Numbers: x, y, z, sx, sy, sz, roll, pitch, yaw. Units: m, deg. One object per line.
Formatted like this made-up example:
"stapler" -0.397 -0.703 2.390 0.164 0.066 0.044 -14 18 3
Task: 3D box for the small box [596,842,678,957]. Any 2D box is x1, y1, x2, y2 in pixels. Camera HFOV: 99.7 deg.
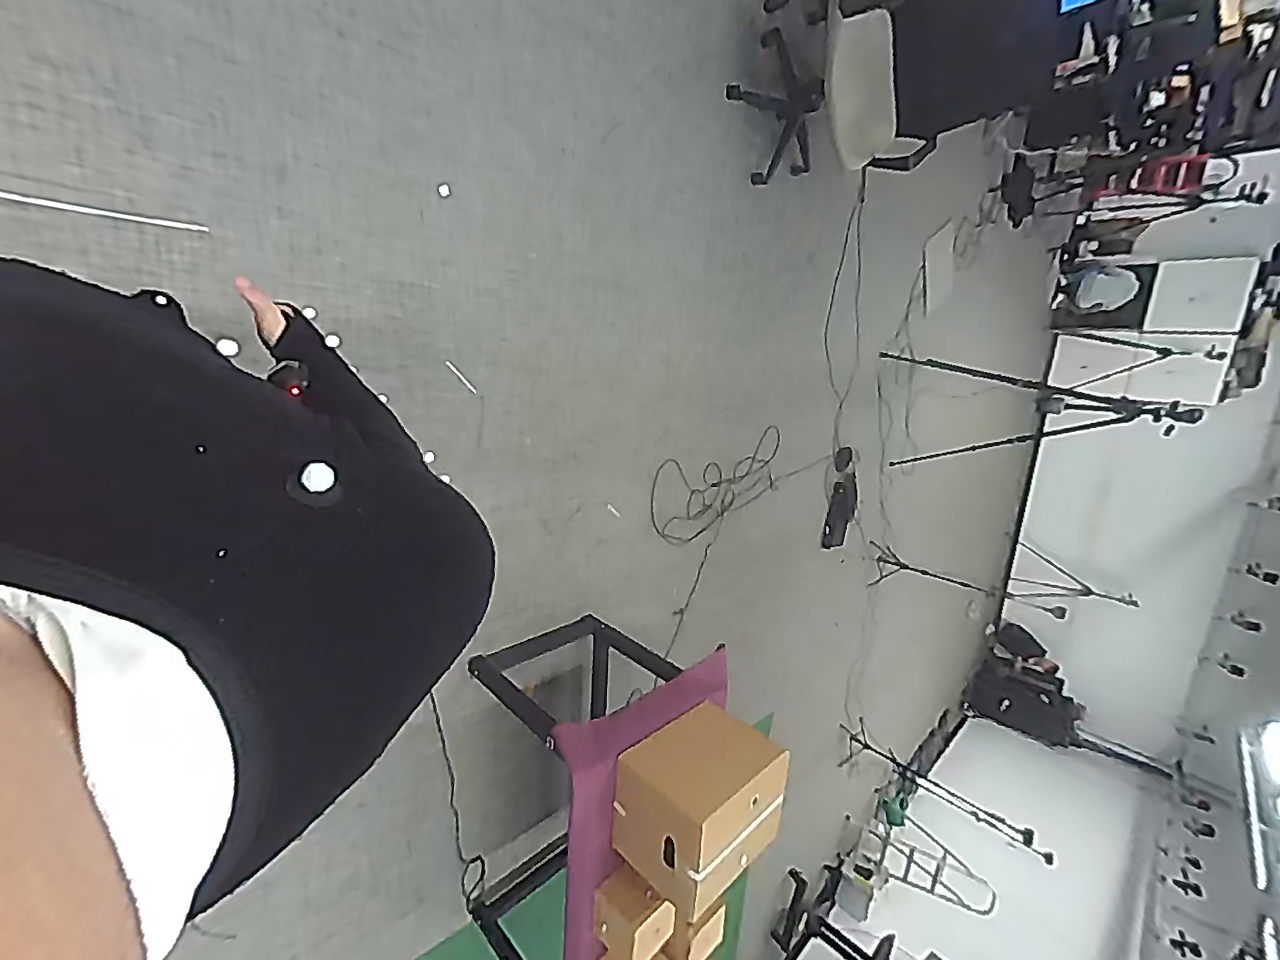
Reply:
"small box" -0.010 1.237 1.612 0.179 0.176 0.168 -12 109 -45
